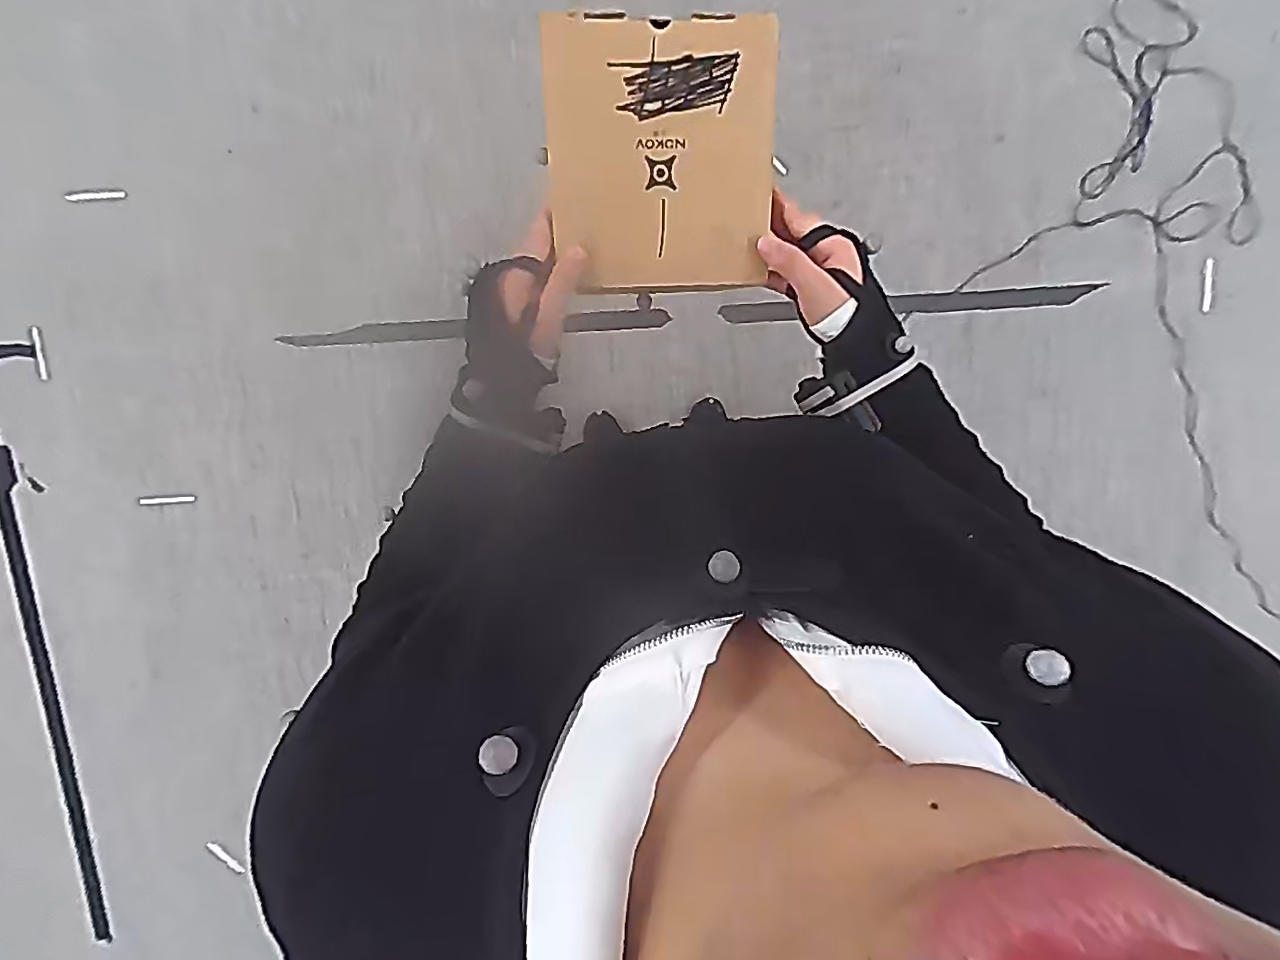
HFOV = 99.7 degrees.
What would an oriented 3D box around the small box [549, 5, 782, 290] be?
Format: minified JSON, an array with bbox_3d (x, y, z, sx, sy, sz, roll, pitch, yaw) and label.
[{"bbox_3d":[0.013,-0.261,0.468,0.168,0.176,0.179,-2,108,-3],"label":"small box"}]
